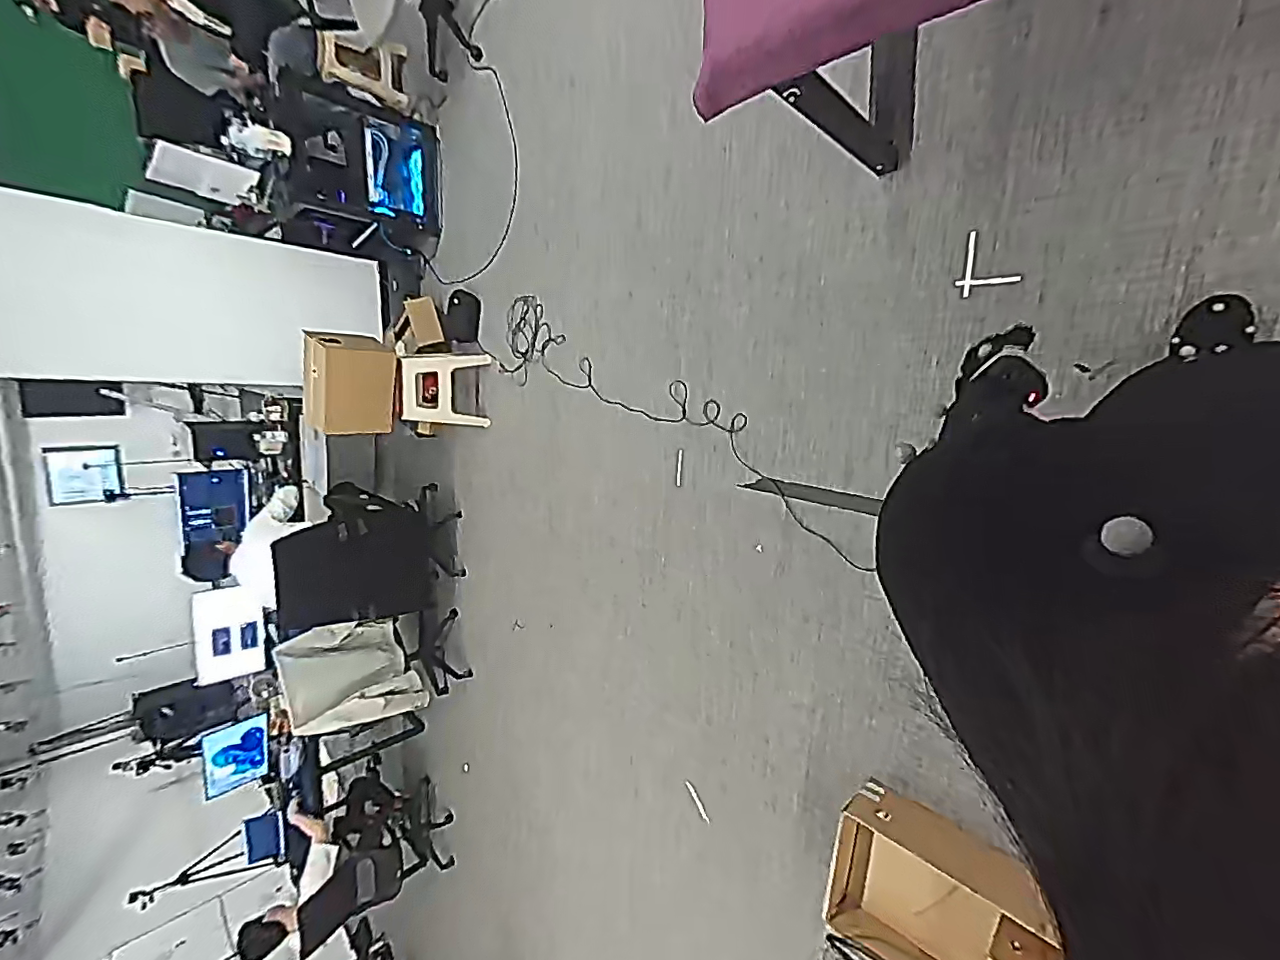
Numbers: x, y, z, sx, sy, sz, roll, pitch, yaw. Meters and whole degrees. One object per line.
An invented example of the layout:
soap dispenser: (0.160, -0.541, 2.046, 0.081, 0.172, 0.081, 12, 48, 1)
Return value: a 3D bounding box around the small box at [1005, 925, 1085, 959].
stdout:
small box: (0.942, 1.187, 1.247, 0.179, 0.176, 0.168, 19, 109, 42)
